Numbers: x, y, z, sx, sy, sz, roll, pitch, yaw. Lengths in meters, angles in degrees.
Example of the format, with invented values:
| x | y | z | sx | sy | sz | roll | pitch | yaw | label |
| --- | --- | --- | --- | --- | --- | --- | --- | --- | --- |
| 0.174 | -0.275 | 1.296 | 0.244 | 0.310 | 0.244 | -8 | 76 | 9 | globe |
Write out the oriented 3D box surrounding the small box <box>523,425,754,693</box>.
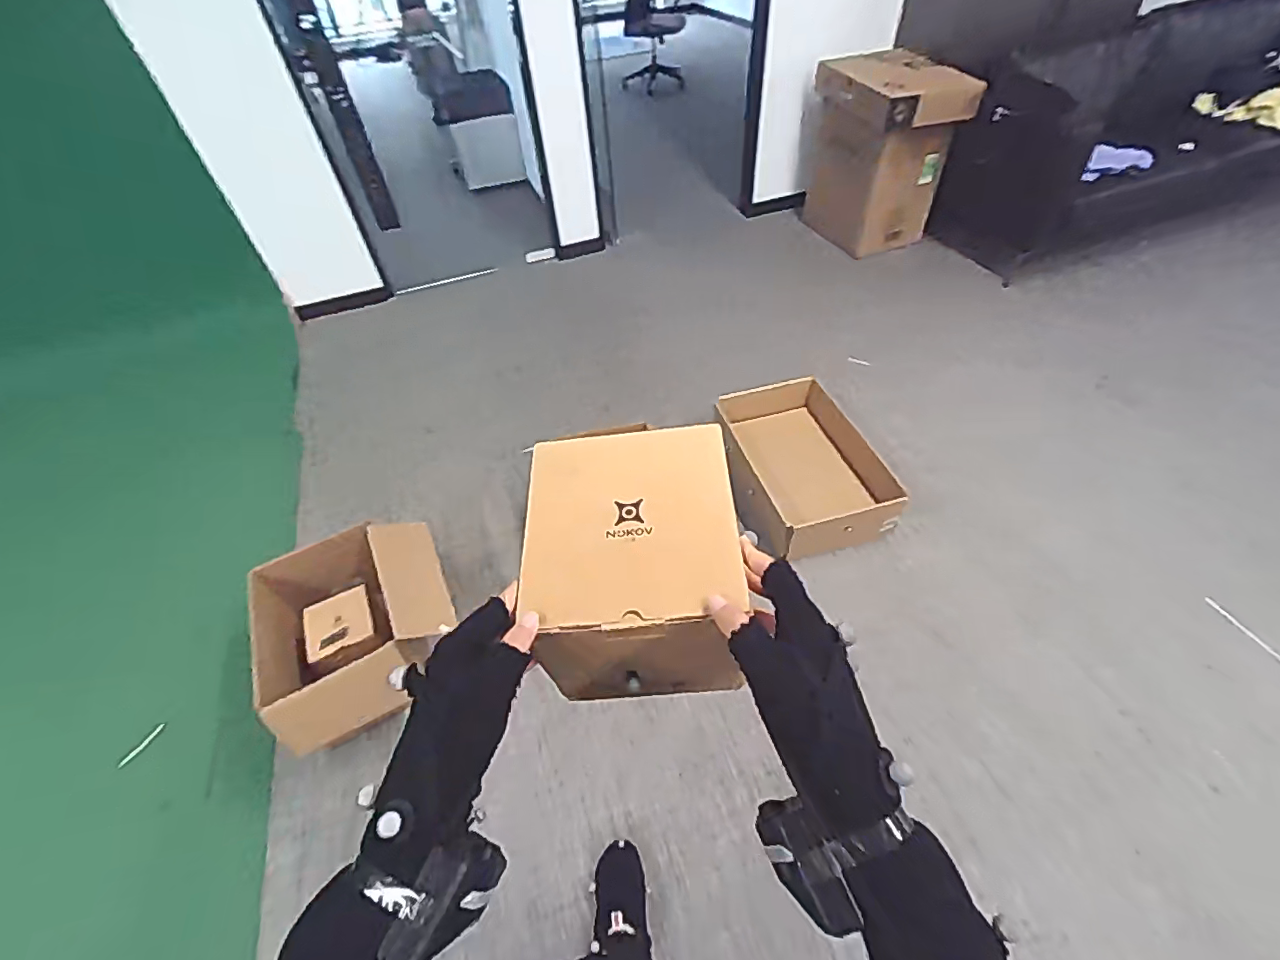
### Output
| x | y | z | sx | sy | sz | roll | pitch | yaw | label |
| --- | --- | --- | --- | --- | --- | --- | --- | --- | --- |
| 0.005 | 0.076 | 0.489 | 0.168 | 0.176 | 0.179 | -6 | 53 | 5 | small box |
